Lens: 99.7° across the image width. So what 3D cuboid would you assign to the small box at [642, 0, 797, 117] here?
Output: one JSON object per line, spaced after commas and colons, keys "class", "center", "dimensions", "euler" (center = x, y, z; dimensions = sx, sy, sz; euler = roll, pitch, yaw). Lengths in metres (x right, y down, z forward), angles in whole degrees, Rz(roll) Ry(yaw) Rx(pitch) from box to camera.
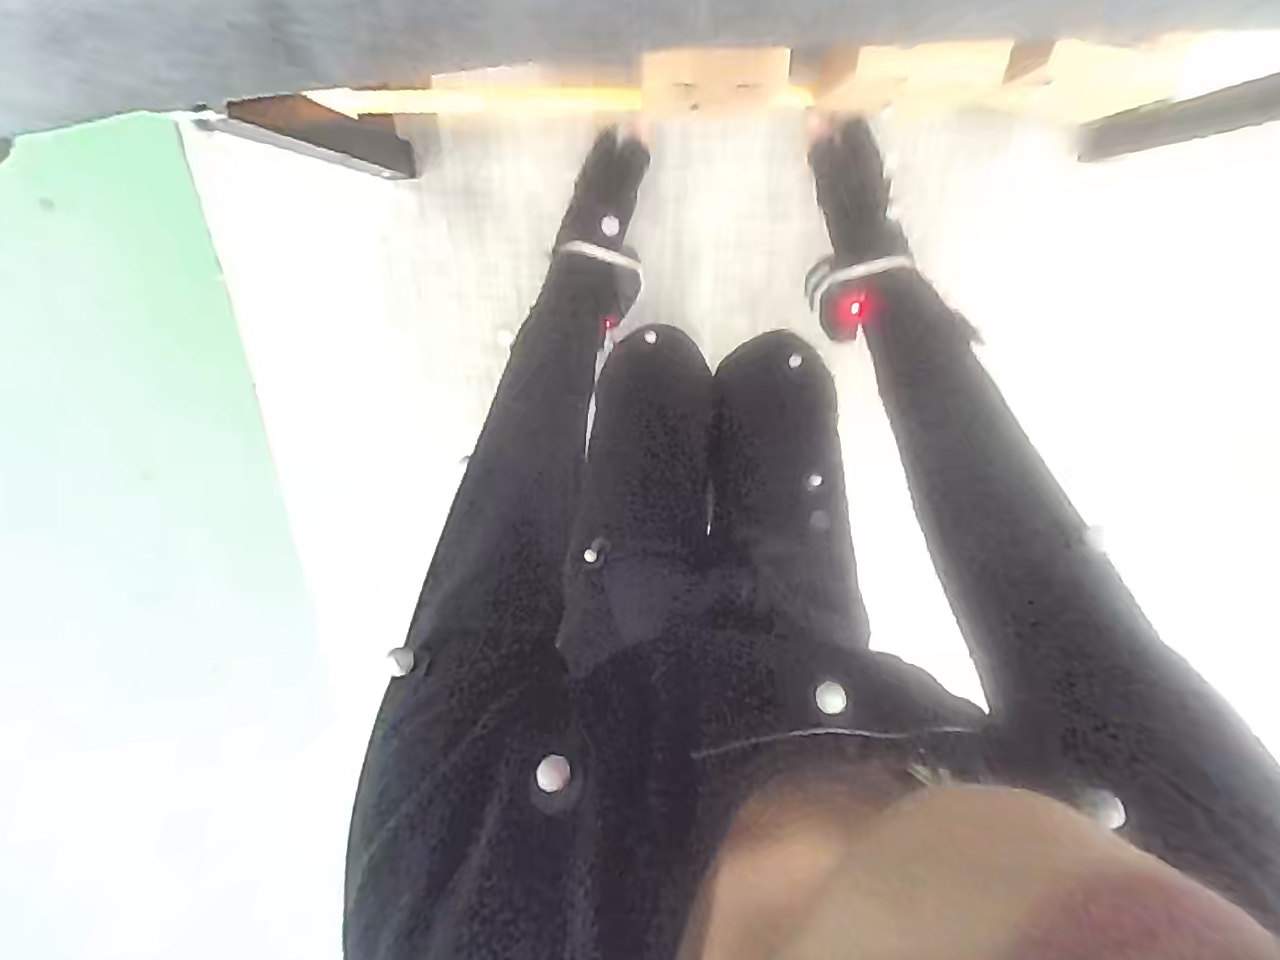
{"class": "small box", "center": [0.087, -0.555, 0.643], "dimensions": [0.168, 0.176, 0.179], "euler": [1, 115, 1]}
